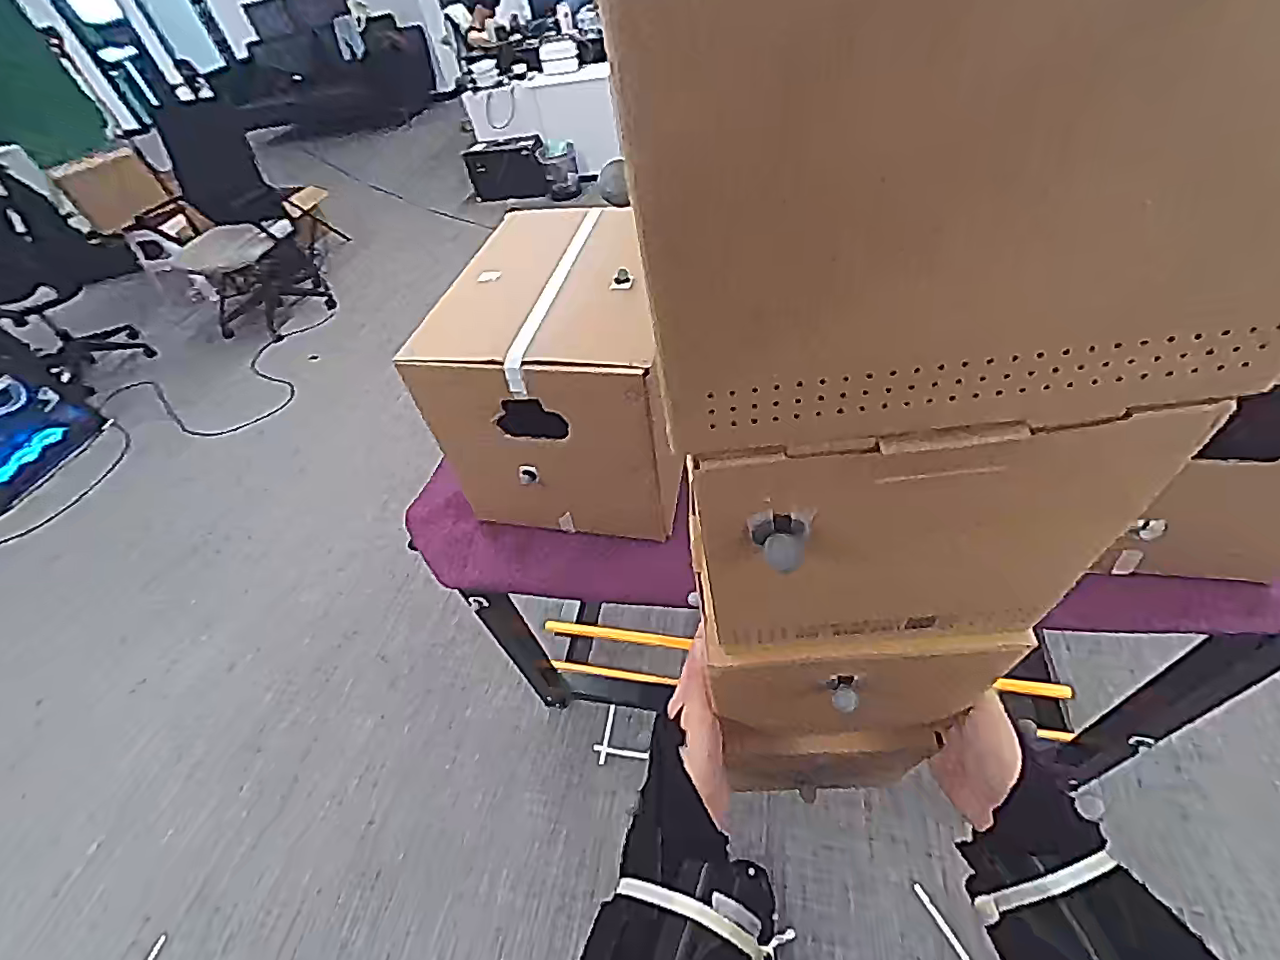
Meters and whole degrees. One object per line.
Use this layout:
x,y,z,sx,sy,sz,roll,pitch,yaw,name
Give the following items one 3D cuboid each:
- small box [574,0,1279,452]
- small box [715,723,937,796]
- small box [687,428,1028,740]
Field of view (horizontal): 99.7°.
0.081,-0.127,0.157,0.179,0.176,0.168,-6,50,8,small box
0.154,0.193,0.525,0.168,0.176,0.179,-6,52,7,small box
0.133,0.085,0.404,0.179,0.176,0.168,-7,51,7,small box
